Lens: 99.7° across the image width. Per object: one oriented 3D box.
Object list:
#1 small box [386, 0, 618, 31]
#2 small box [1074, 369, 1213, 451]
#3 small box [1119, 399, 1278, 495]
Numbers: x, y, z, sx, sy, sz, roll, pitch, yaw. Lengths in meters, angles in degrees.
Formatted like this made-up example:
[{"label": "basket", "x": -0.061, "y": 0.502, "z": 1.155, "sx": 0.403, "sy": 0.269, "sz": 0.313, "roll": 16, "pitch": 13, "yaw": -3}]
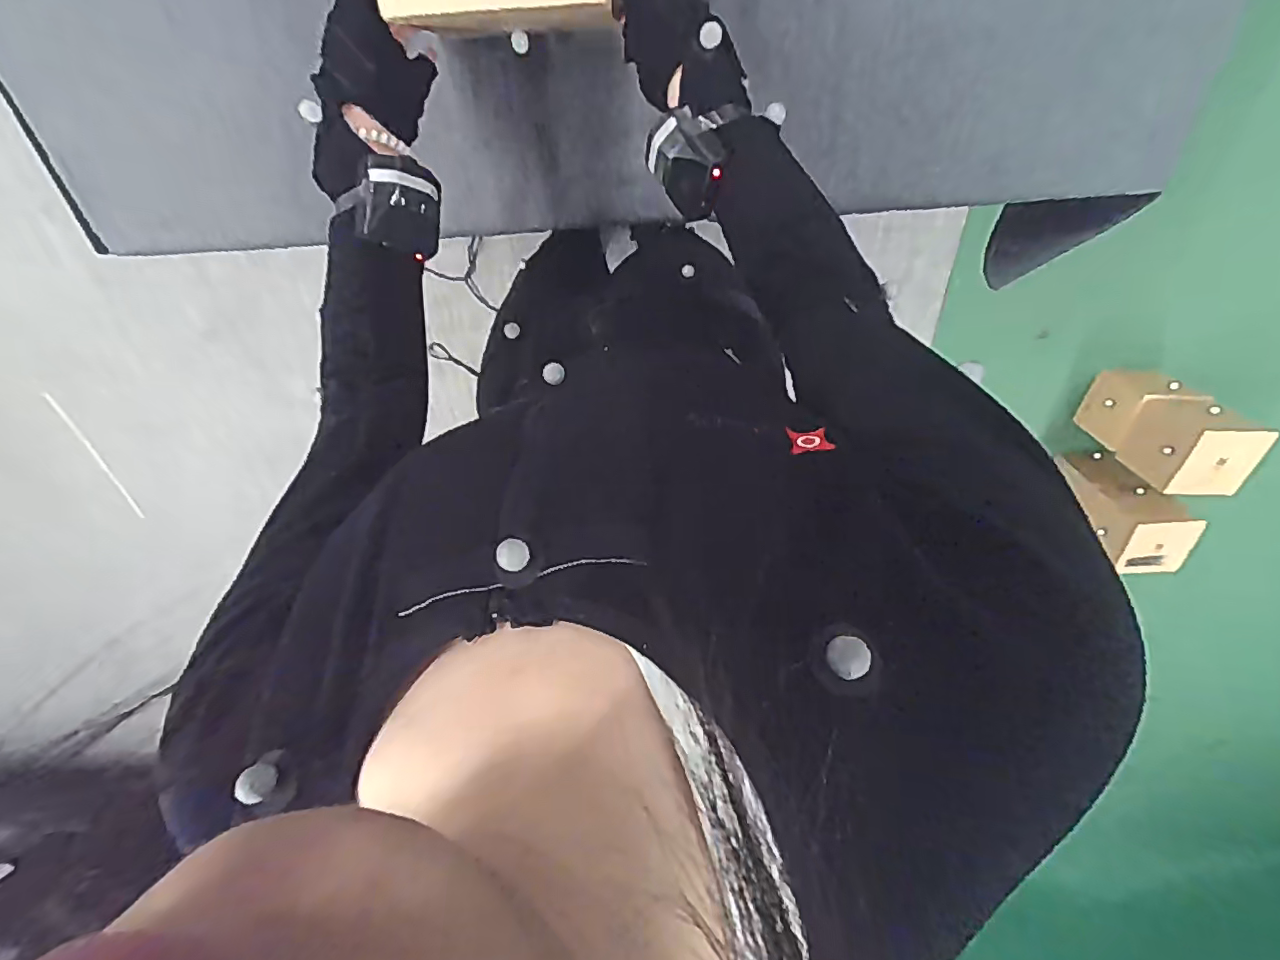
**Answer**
[{"label": "small box", "x": -0.105, "y": -0.455, "z": 0.396, "sx": 0.168, "sy": 0.176, "sz": 0.179, "roll": -1, "pitch": 125, "yaw": 3}, {"label": "small box", "x": 1.313, "y": -0.184, "z": 1.429, "sx": 0.179, "sy": 0.176, "sz": 0.168, "roll": 2, "pitch": 125, "yaw": 0}, {"label": "small box", "x": 1.320, "y": -0.083, "z": 1.298, "sx": 0.168, "sy": 0.176, "sz": 0.179, "roll": 2, "pitch": 125, "yaw": 1}]
